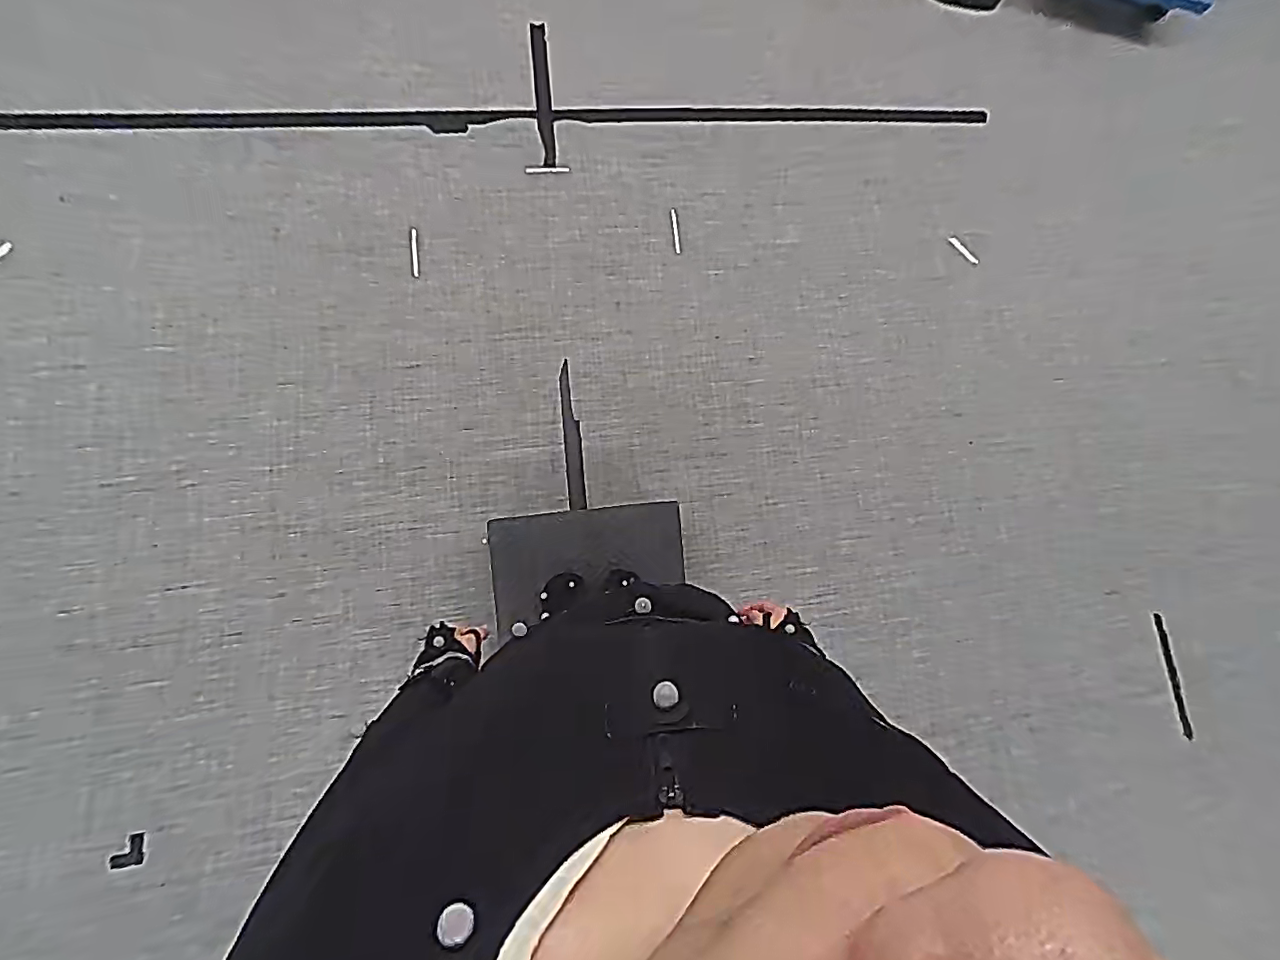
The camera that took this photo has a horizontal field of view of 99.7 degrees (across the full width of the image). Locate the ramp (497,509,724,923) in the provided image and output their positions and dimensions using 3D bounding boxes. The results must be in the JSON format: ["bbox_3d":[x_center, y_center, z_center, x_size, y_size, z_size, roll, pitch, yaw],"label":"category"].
[{"bbox_3d":[-0.062,0.591,1.383,0.509,0.206,0.991,-8,82,-10],"label":"ramp"}]
